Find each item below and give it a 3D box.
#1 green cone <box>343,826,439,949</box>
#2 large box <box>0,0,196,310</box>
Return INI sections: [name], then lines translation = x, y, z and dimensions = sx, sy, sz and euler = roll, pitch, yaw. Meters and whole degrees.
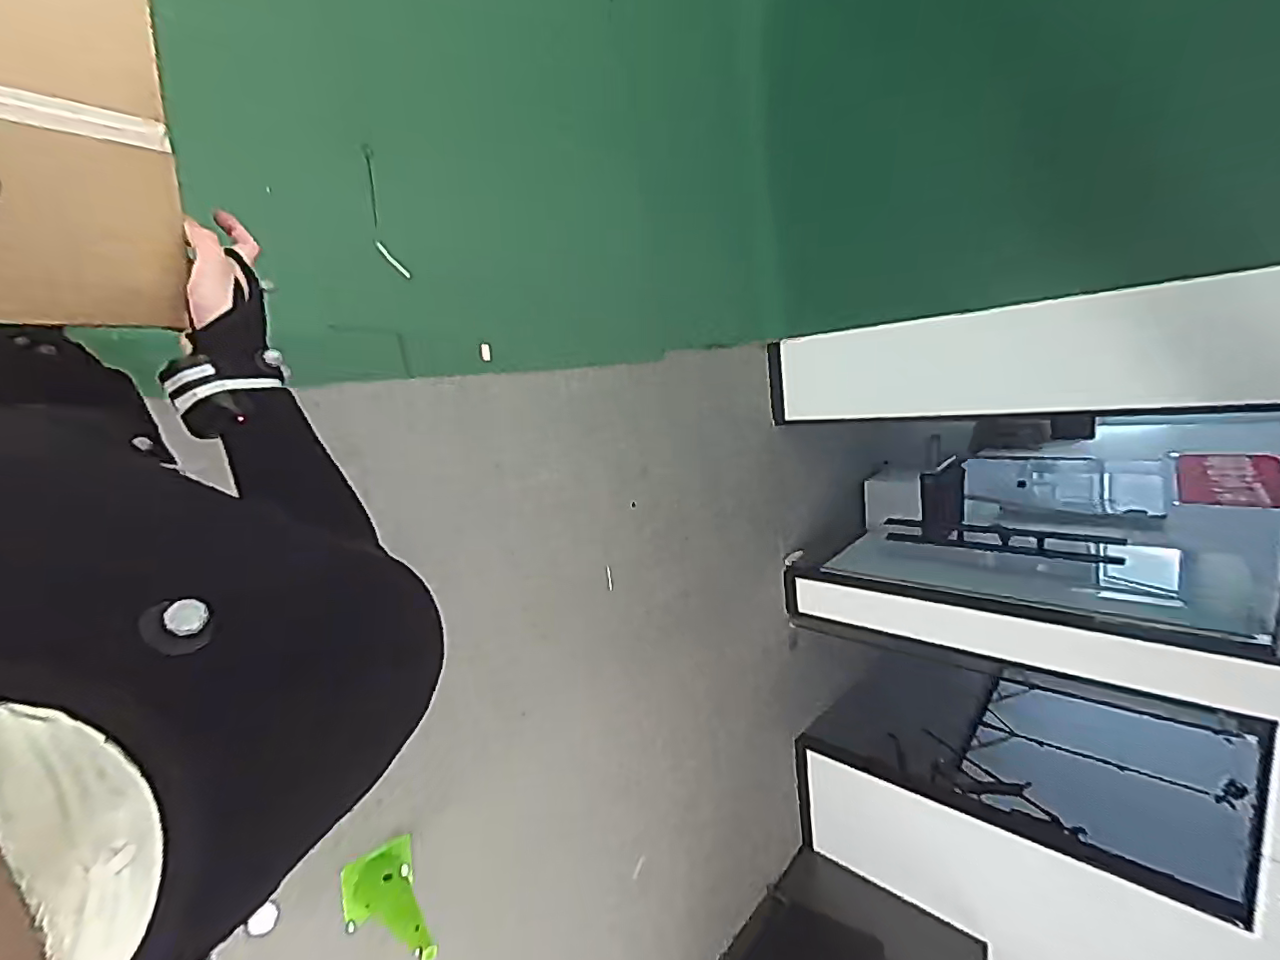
[green cone]
translation = -0.669, 1.204, 1.538
dimensions = 0.200, 0.368, 0.202
euler = -9, 98, -46
[large box]
translation = -0.645, -0.313, 0.401
dimensions = 0.408, 0.320, 0.320
euler = -17, 124, -47
